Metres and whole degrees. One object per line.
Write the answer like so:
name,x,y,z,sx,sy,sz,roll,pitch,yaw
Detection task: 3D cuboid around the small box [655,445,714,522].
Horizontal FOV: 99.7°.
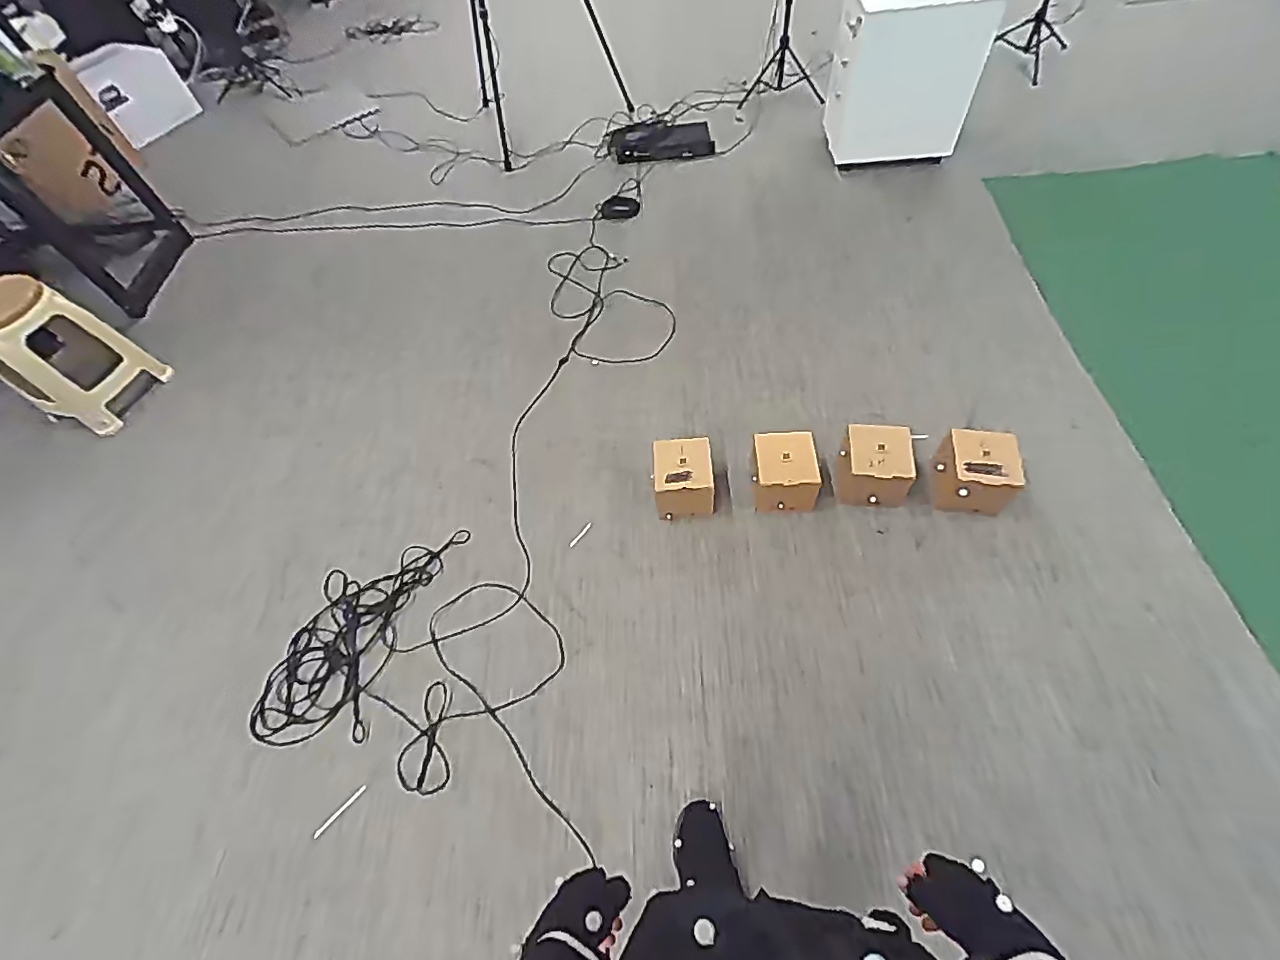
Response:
small box,0.133,0.017,1.604,0.168,0.176,0.179,-3,56,4

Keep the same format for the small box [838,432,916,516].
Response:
small box,0.678,-0.017,1.565,0.168,0.176,0.179,4,58,10

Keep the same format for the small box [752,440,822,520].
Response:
small box,0.422,0.002,1.583,0.168,0.176,0.179,-2,57,5
